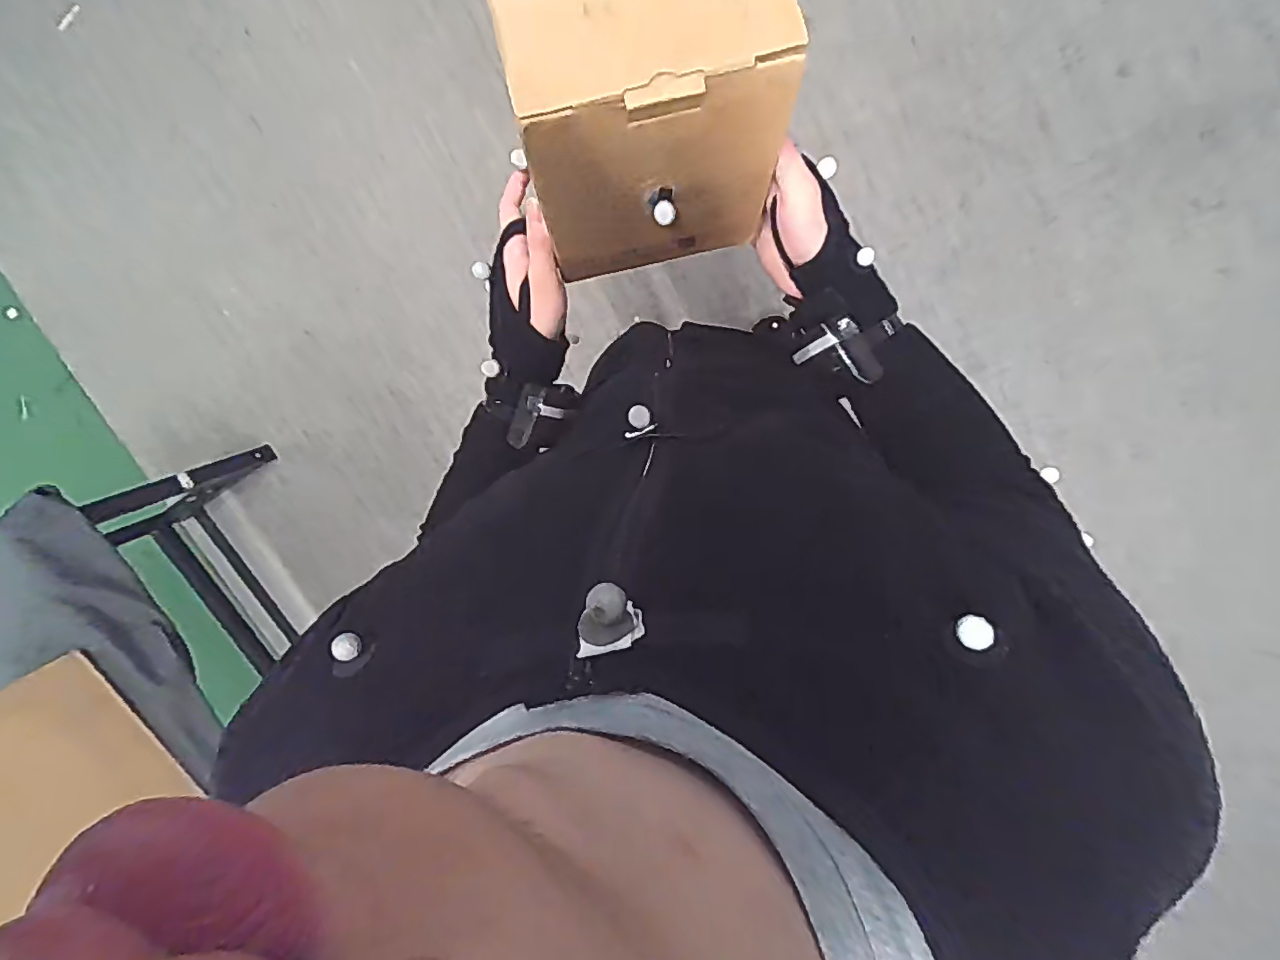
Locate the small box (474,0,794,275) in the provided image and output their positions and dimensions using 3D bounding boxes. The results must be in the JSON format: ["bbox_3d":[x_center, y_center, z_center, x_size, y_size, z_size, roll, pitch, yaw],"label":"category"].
[{"bbox_3d":[-0.010,-0.268,0.383,0.168,0.176,0.179,-13,80,-2],"label":"small box"}]
